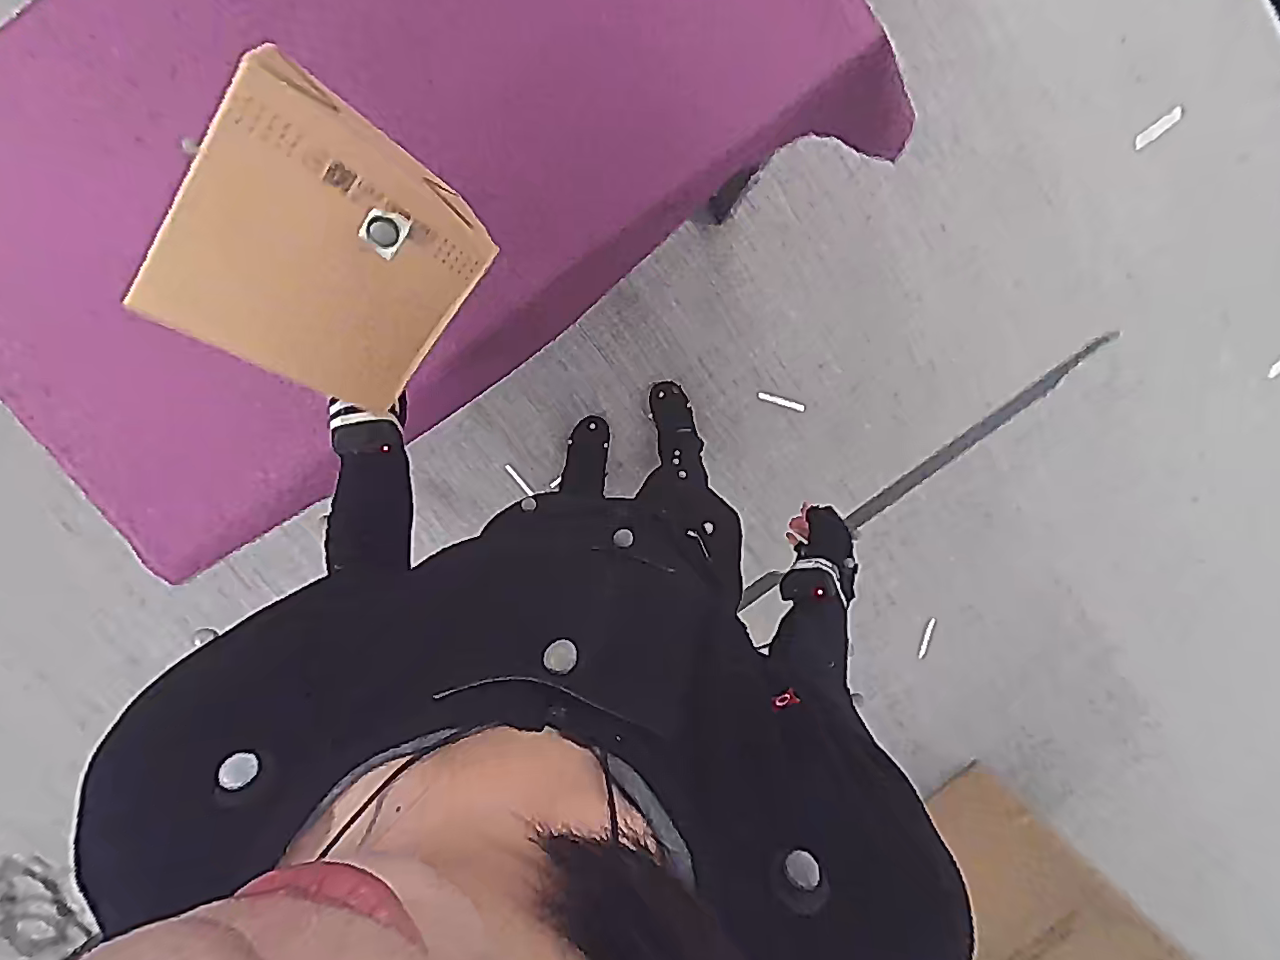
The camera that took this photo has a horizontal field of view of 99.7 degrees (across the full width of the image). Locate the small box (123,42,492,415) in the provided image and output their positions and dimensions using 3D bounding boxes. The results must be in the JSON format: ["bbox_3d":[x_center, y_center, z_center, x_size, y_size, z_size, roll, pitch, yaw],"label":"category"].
[{"bbox_3d":[-0.236,-0.188,0.413,0.168,0.179,0.176,27,111,-41],"label":"small box"}]
